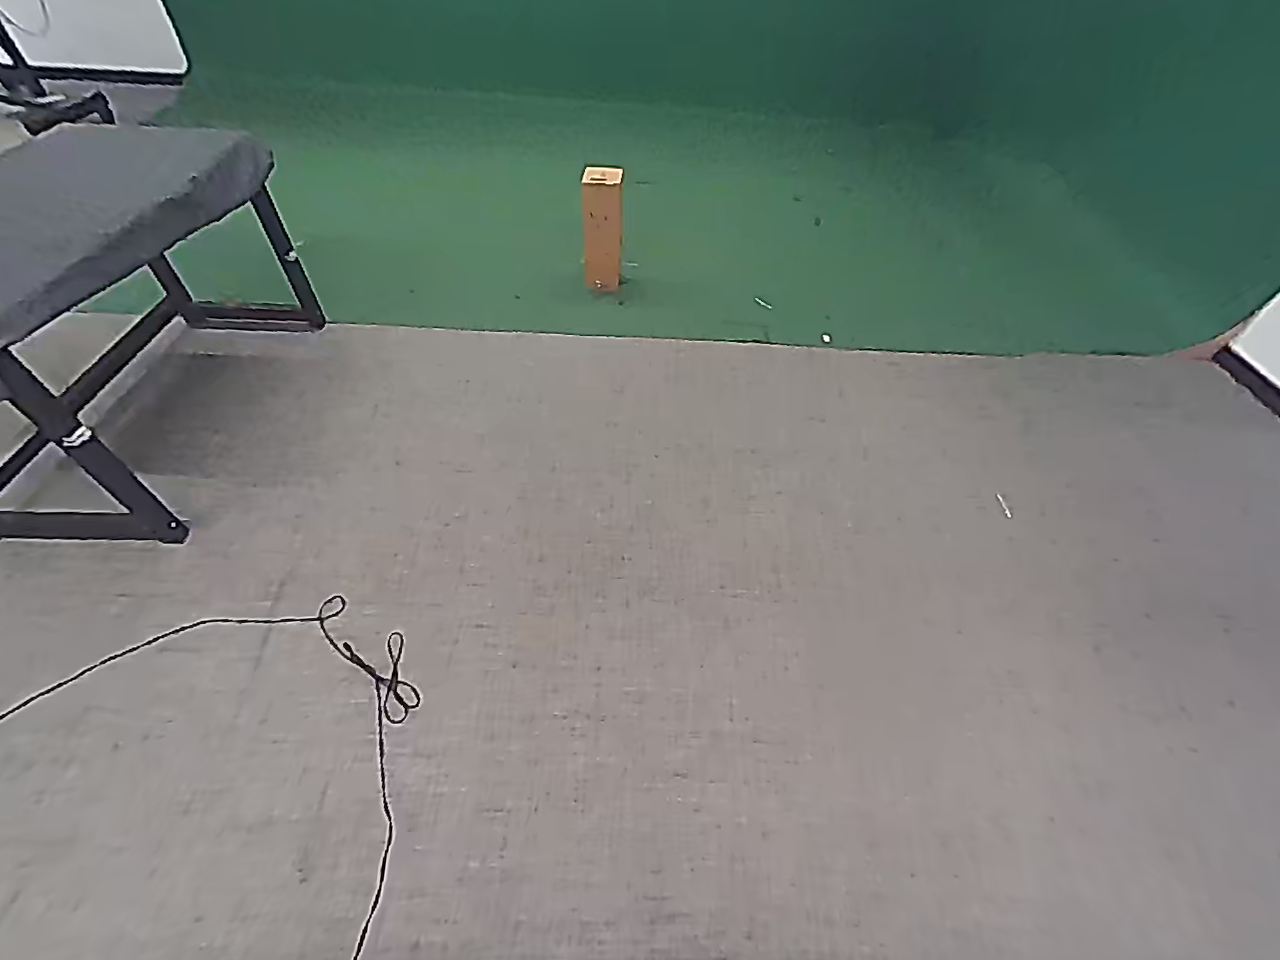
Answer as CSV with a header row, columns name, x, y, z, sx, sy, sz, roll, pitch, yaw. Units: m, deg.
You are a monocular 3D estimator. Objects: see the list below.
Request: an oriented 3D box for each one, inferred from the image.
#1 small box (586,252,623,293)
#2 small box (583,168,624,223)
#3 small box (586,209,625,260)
name,x,y,z,sx,sy,sz,roll,pitch,yaw
small box,-0.172,-1.048,2.659,0.168,0.176,0.179,3,51,0
small box,-0.159,-1.270,2.417,0.168,0.176,0.179,4,48,0
small box,-0.162,-1.158,2.538,0.168,0.176,0.179,4,48,1
